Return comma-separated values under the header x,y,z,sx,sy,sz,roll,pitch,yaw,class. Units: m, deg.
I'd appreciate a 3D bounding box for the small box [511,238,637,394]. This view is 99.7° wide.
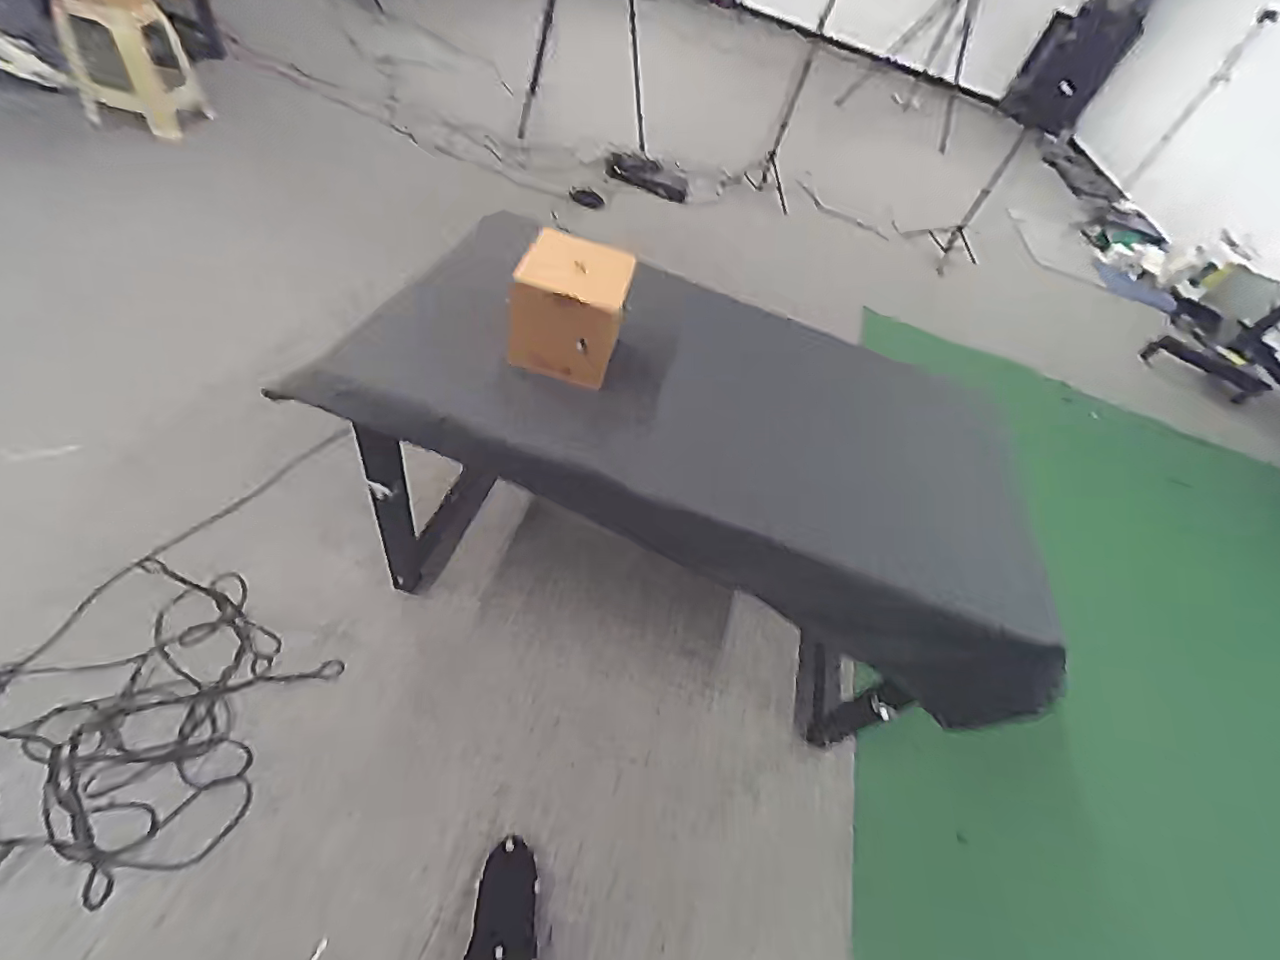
x,y,z,sx,sy,sz,roll,pitch,yaw,class
-0.115,-0.274,0.921,0.168,0.176,0.179,17,47,-5,small box
